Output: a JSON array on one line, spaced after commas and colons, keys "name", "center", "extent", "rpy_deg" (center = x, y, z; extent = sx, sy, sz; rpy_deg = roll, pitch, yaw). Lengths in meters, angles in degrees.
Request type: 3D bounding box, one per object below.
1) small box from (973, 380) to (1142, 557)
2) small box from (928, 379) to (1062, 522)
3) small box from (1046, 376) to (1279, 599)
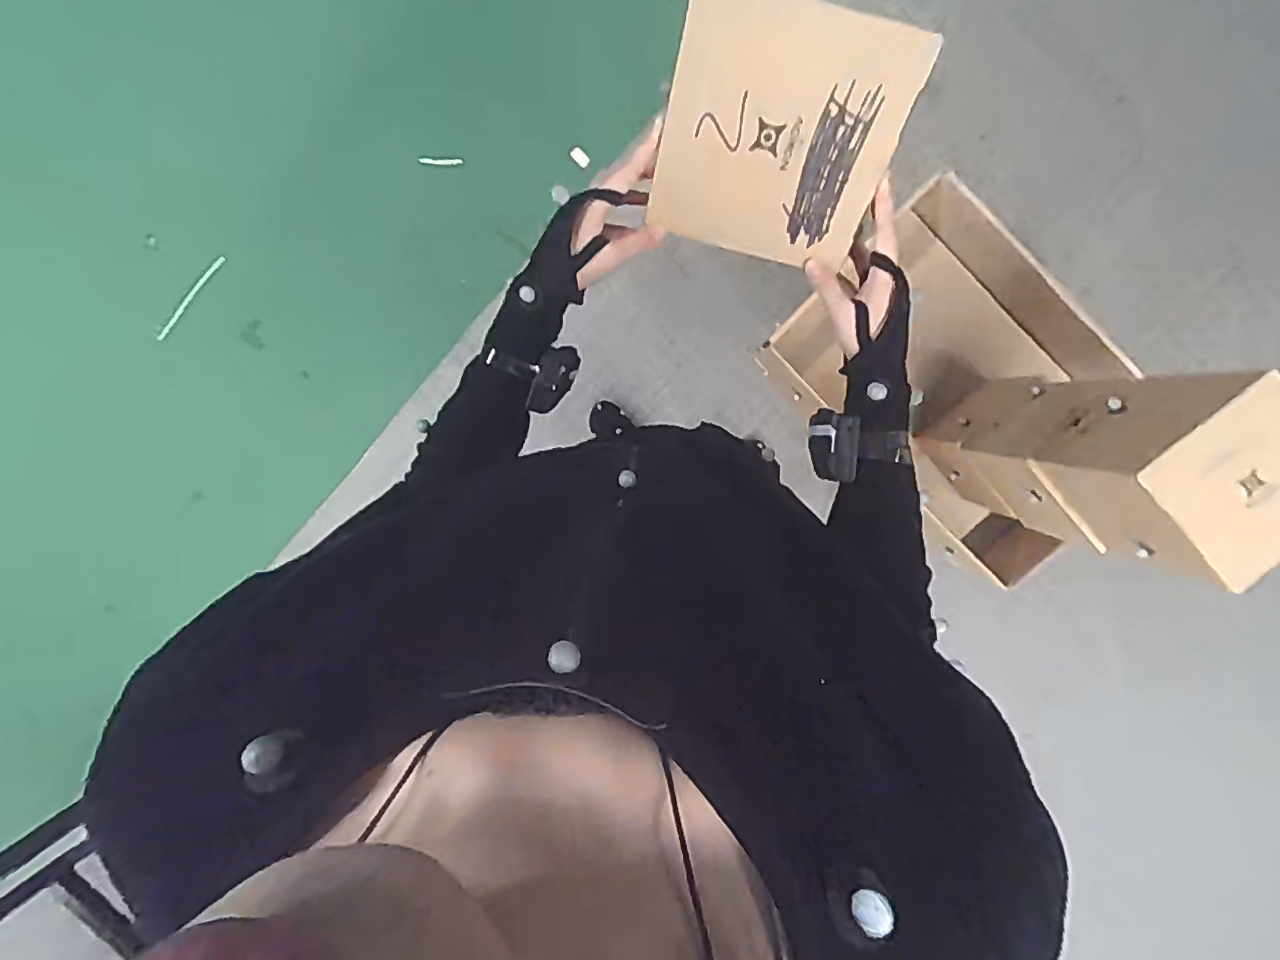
[{"name": "small box", "center": [0.634, -0.021, 0.781], "extent": [0.168, 0.176, 0.179], "rpy_deg": [-41, 93, 8]}, {"name": "small box", "center": [0.638, -0.054, 0.942], "extent": [0.179, 0.176, 0.168], "rpy_deg": [-40, 93, 8]}, {"name": "small box", "center": [0.632, -0.002, 0.619], "extent": [0.168, 0.176, 0.179], "rpy_deg": [-41, 93, 8]}]
